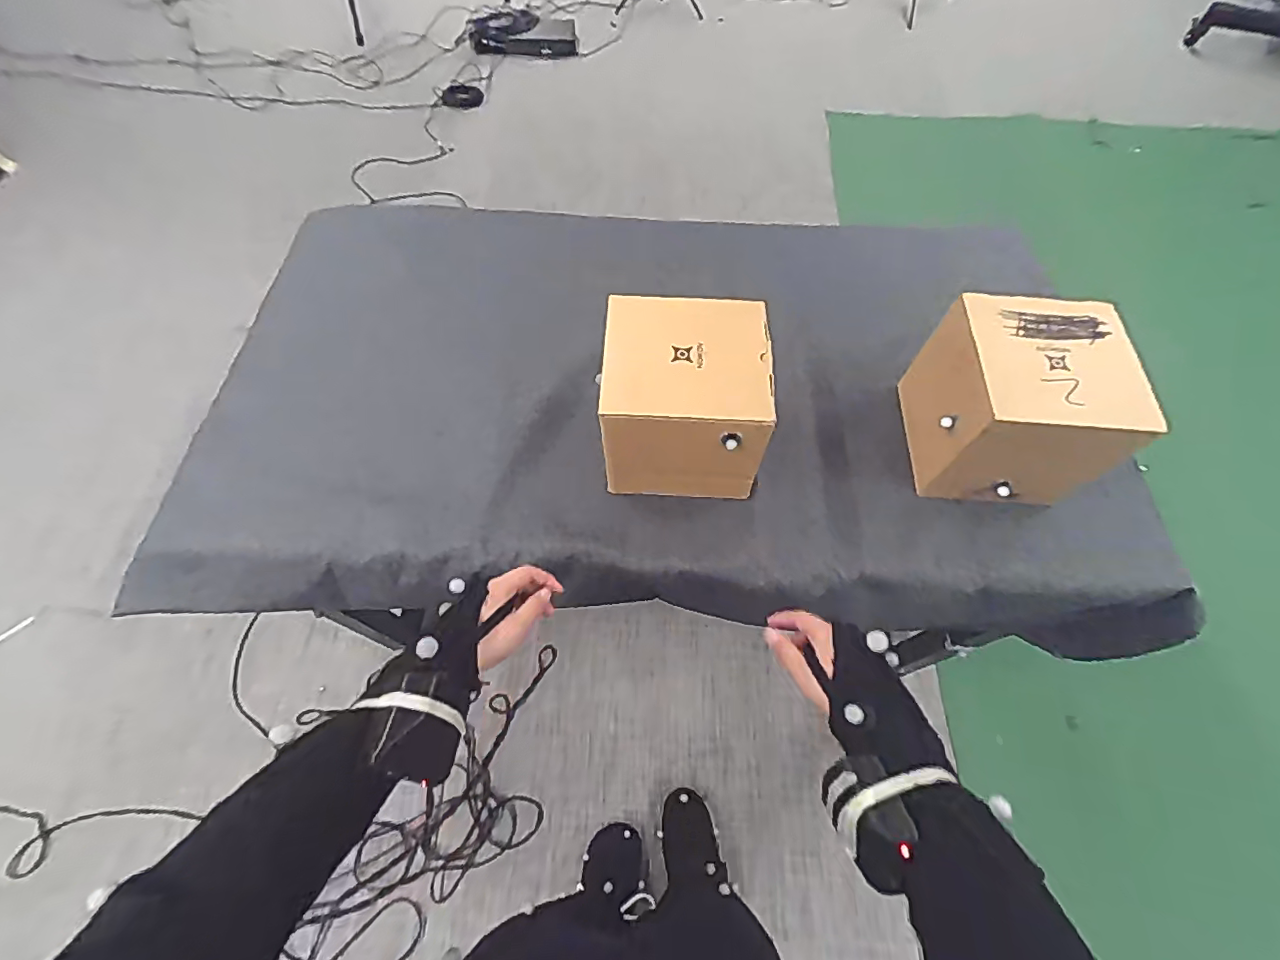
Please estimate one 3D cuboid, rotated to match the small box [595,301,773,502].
[{"bbox_3d":[0.045,-0.085,0.631,0.179,0.176,0.168,3,60,0],"label":"small box"}]
